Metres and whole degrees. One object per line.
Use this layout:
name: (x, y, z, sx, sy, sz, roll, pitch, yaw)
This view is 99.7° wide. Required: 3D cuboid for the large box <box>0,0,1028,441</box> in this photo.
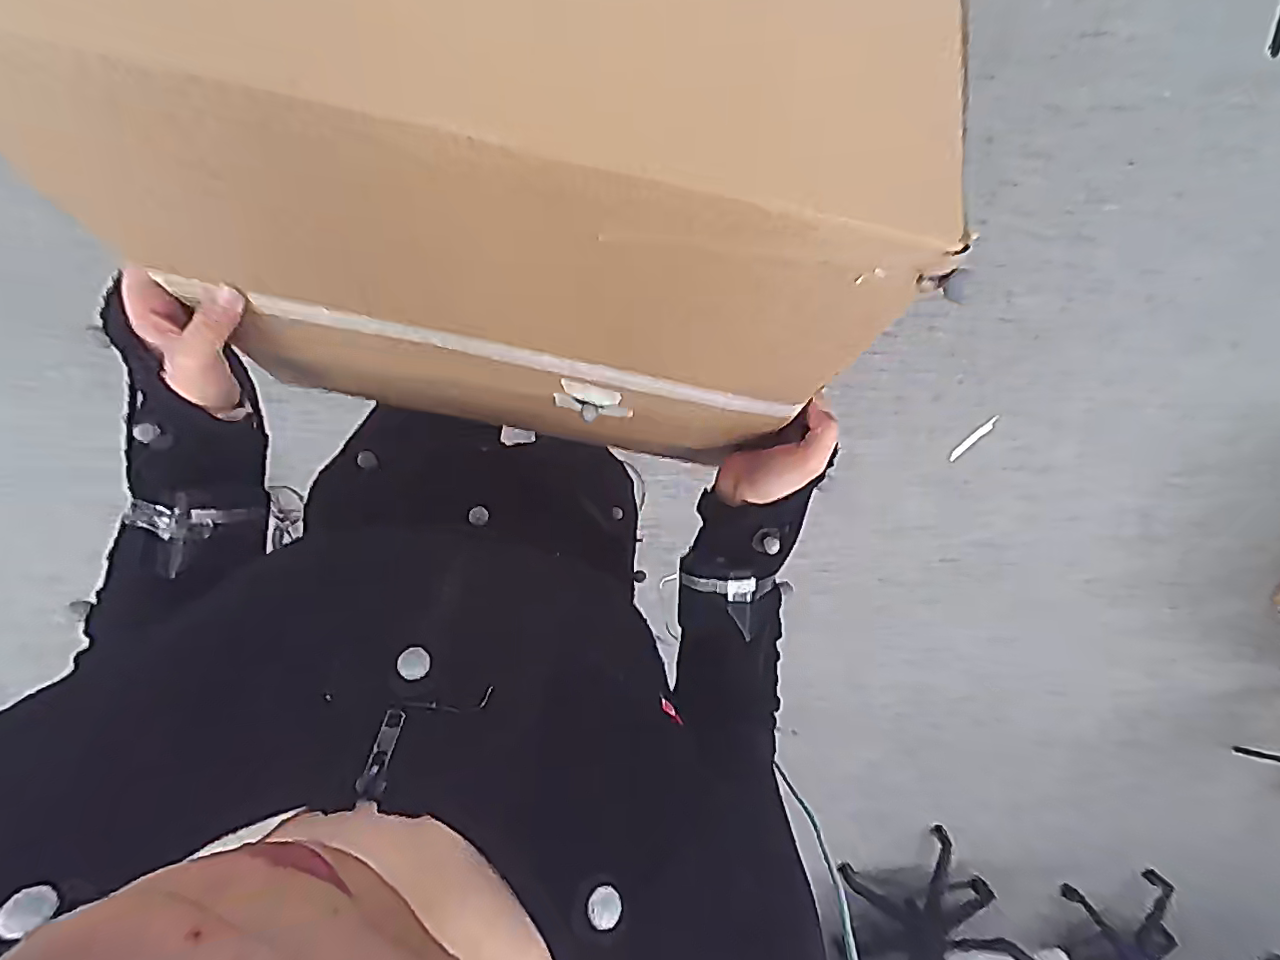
large box: (-0.058, -0.248, 0.354, 0.408, 0.320, 0.320, 10, 76, -4)
